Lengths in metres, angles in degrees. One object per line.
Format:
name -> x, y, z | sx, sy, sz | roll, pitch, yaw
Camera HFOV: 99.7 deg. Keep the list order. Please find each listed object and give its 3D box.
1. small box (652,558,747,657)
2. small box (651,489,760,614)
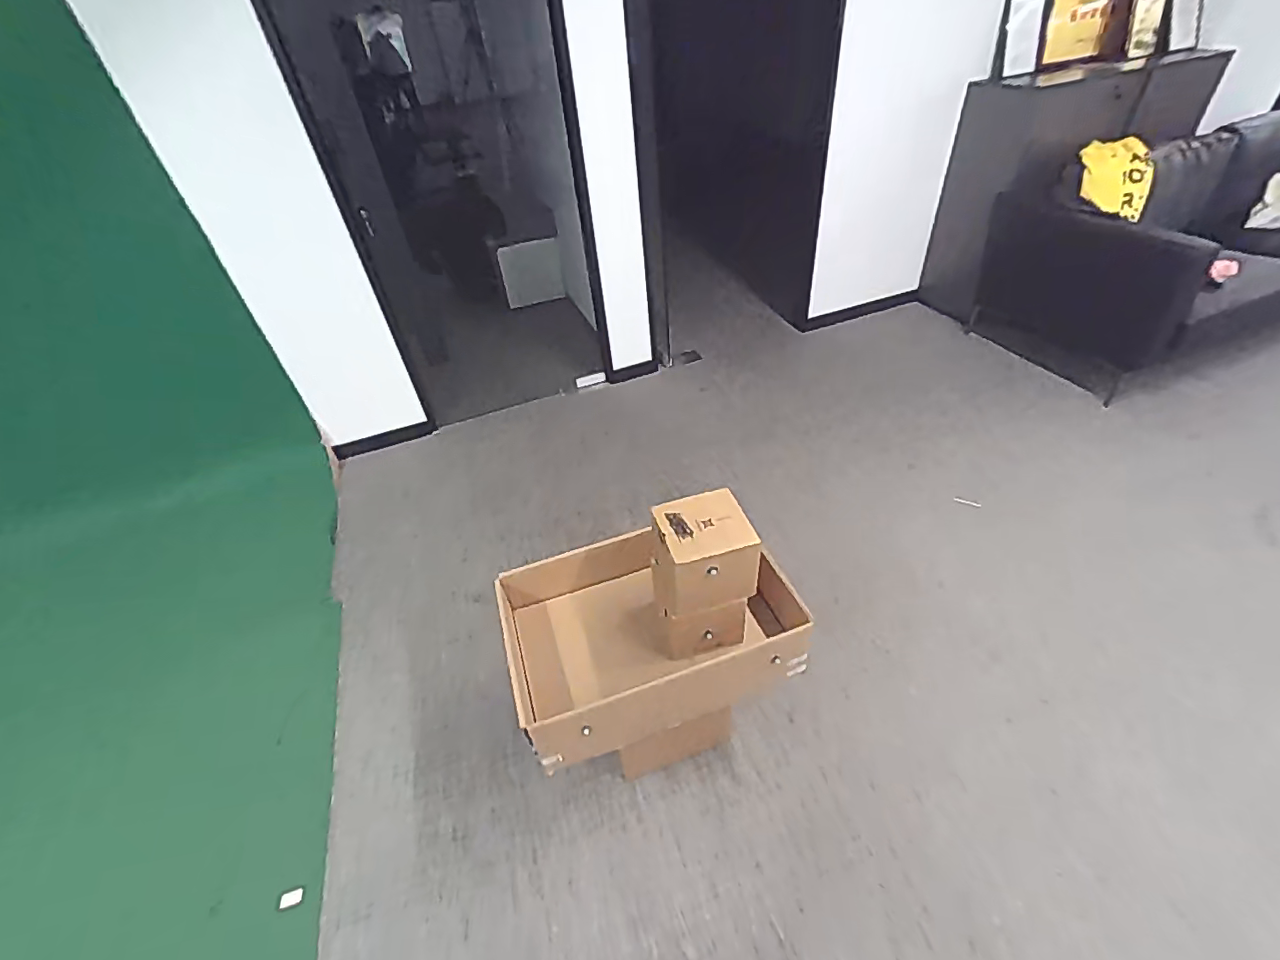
small box -> 0.132, 0.275, 1.218 | 0.168, 0.176, 0.179 | -13, 41, -8
small box -> 0.132, 0.149, 1.112 | 0.179, 0.176, 0.168 | -13, 41, -9
